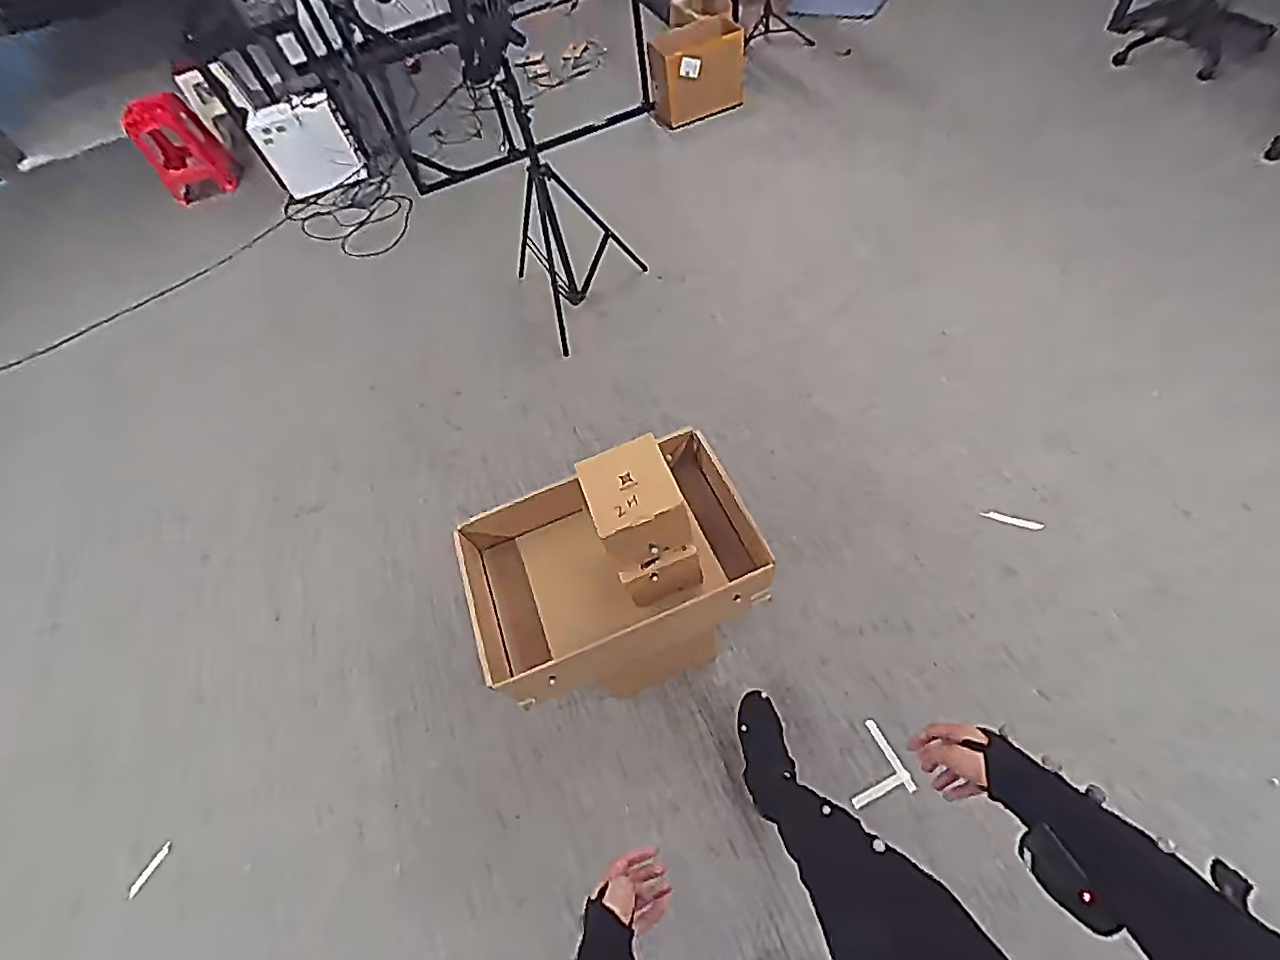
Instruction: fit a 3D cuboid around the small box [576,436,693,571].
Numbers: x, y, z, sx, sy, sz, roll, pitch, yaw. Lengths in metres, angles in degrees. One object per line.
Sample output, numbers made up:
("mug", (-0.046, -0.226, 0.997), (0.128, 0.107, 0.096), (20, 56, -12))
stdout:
("small box", (-0.008, 0.050, 1.058), (0.168, 0.176, 0.179), (-23, 58, -1))
